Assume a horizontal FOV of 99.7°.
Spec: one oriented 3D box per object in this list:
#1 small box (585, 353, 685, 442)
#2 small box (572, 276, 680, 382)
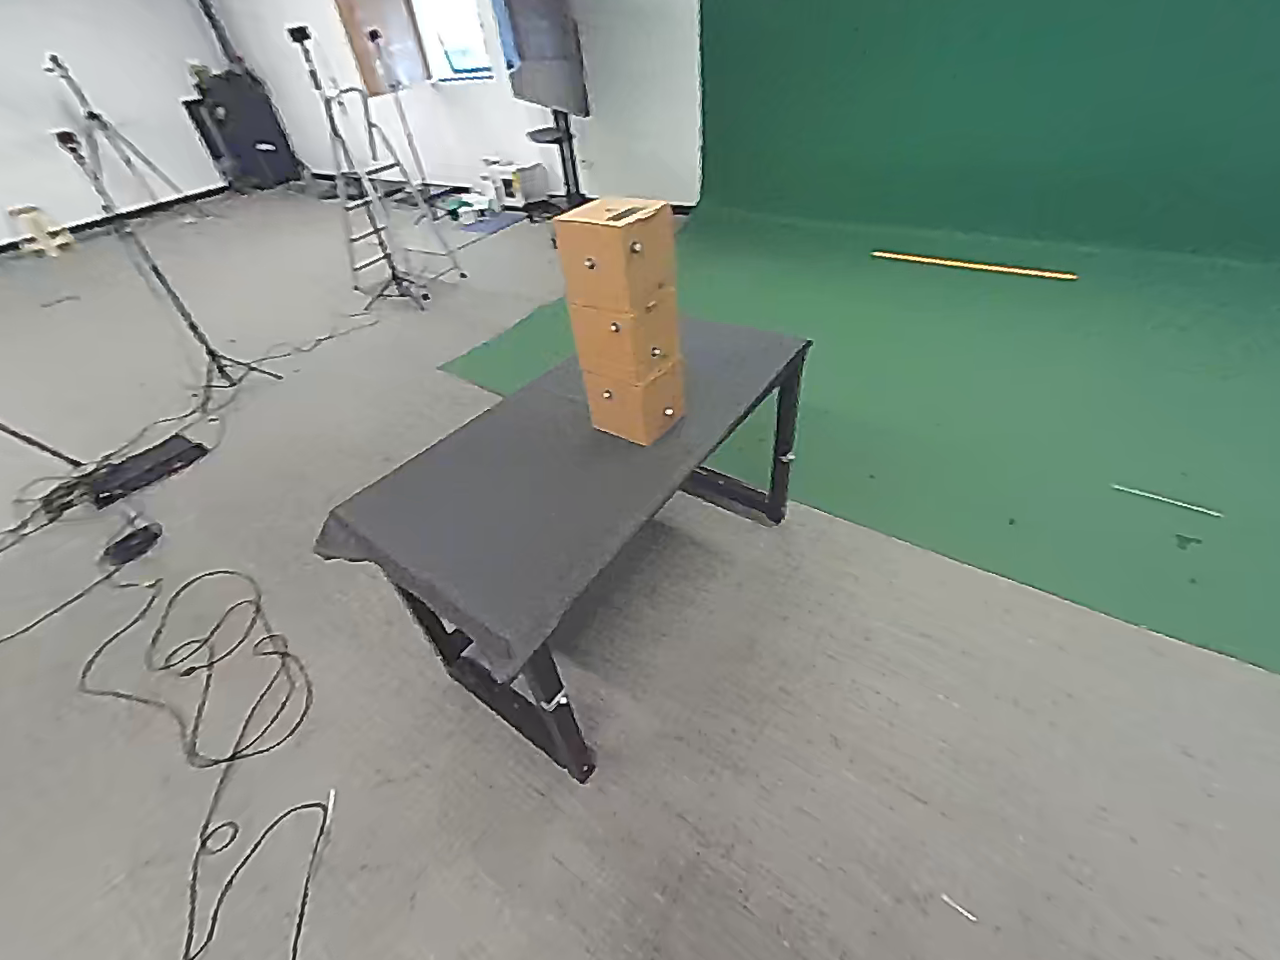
[{"bbox_3d":[-0.006,-0.215,1.316,0.179,0.176,0.168,23,50,30],"label":"small box"},{"bbox_3d":[-0.026,-0.339,1.213,0.179,0.176,0.168,23,49,30],"label":"small box"}]
